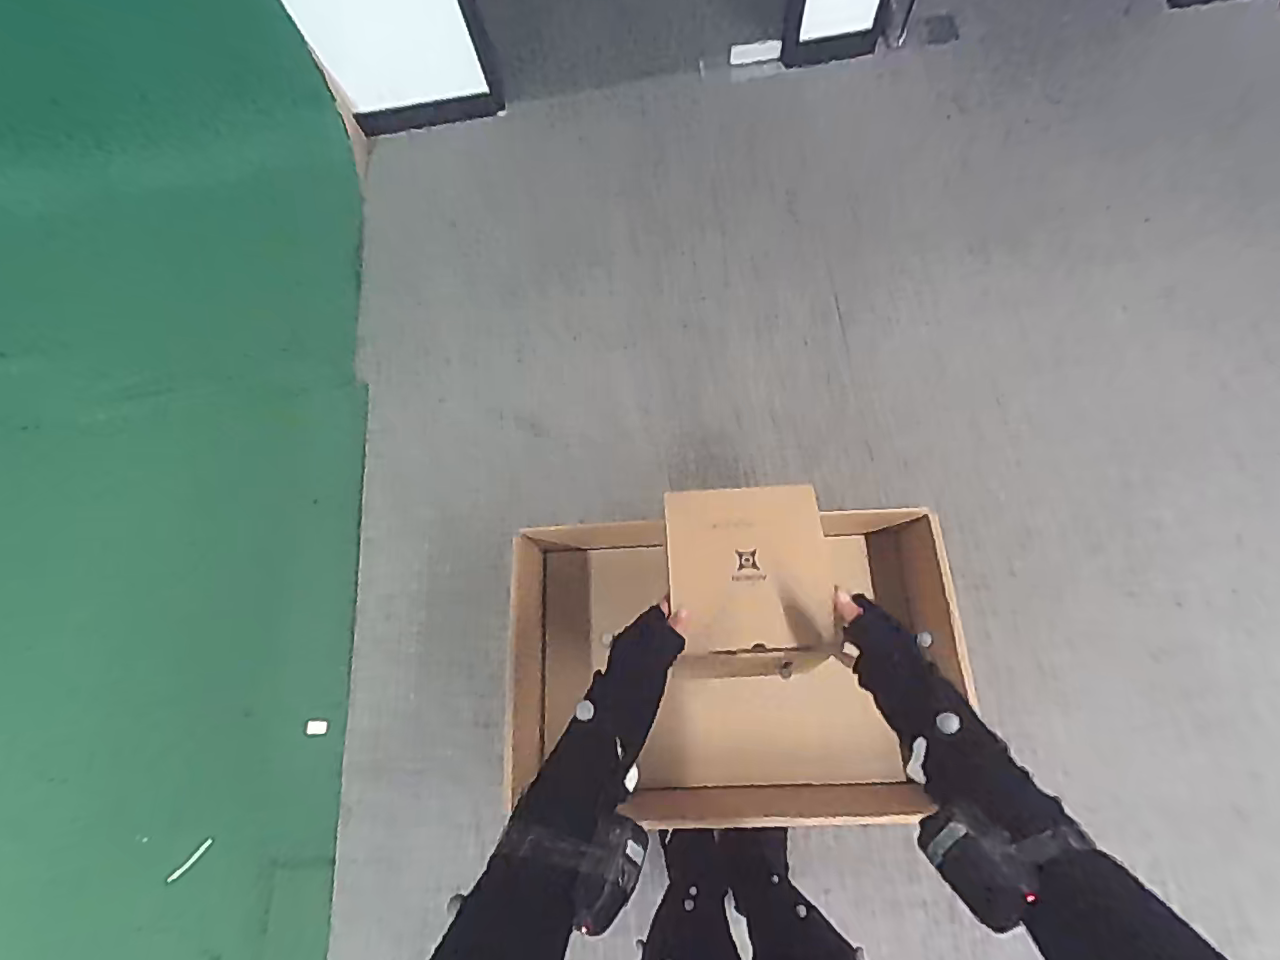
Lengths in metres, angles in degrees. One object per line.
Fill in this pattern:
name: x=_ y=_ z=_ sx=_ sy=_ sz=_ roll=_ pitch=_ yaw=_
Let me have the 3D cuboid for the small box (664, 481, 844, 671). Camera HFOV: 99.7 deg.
small box: x=0.115 y=0.119 z=0.620 sx=0.168 sy=0.176 sz=0.179 roll=-3 pitch=62 yaw=1
